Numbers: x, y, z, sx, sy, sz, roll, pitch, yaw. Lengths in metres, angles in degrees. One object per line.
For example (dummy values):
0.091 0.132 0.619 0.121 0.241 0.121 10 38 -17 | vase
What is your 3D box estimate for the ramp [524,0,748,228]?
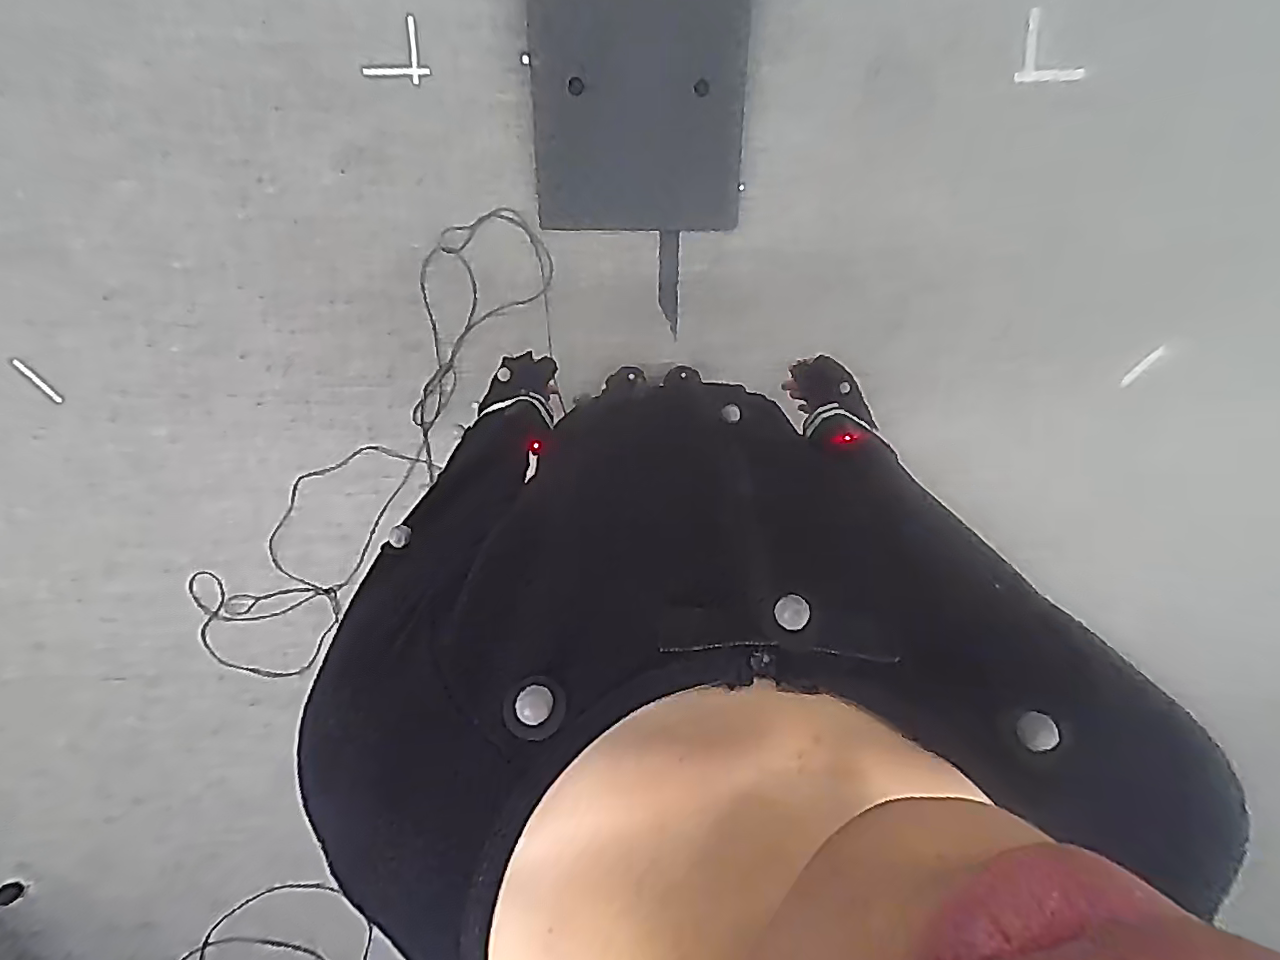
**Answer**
-0.006 -1.088 1.153 0.509 0.206 0.991 -3 103 -3 | ramp
